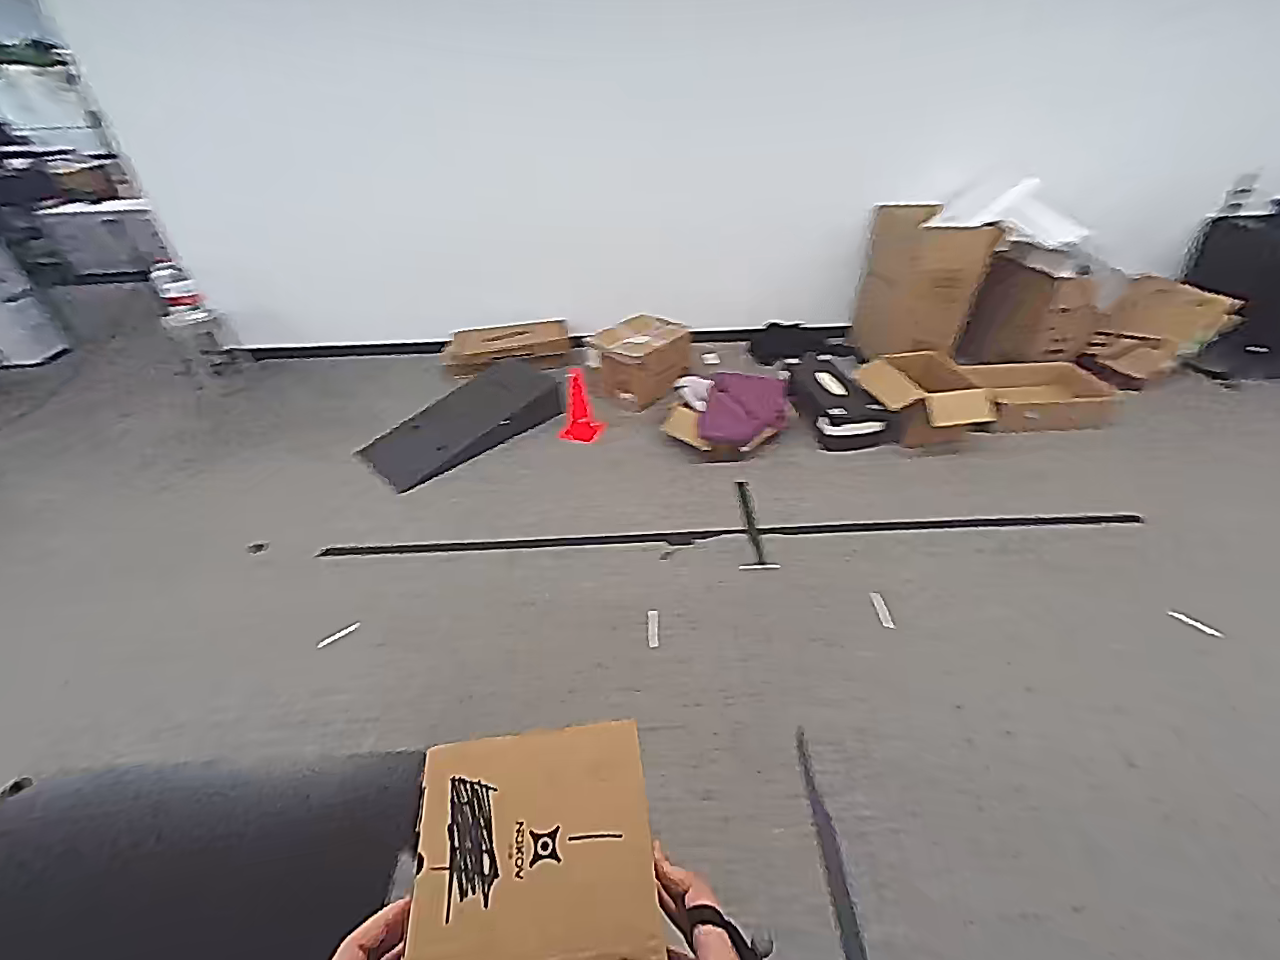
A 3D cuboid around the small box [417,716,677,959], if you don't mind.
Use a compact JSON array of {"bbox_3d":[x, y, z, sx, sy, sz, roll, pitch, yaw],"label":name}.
[{"bbox_3d":[-0.067,0.326,0.463,0.179,0.176,0.168,-5,45,-5],"label":"small box"}]
